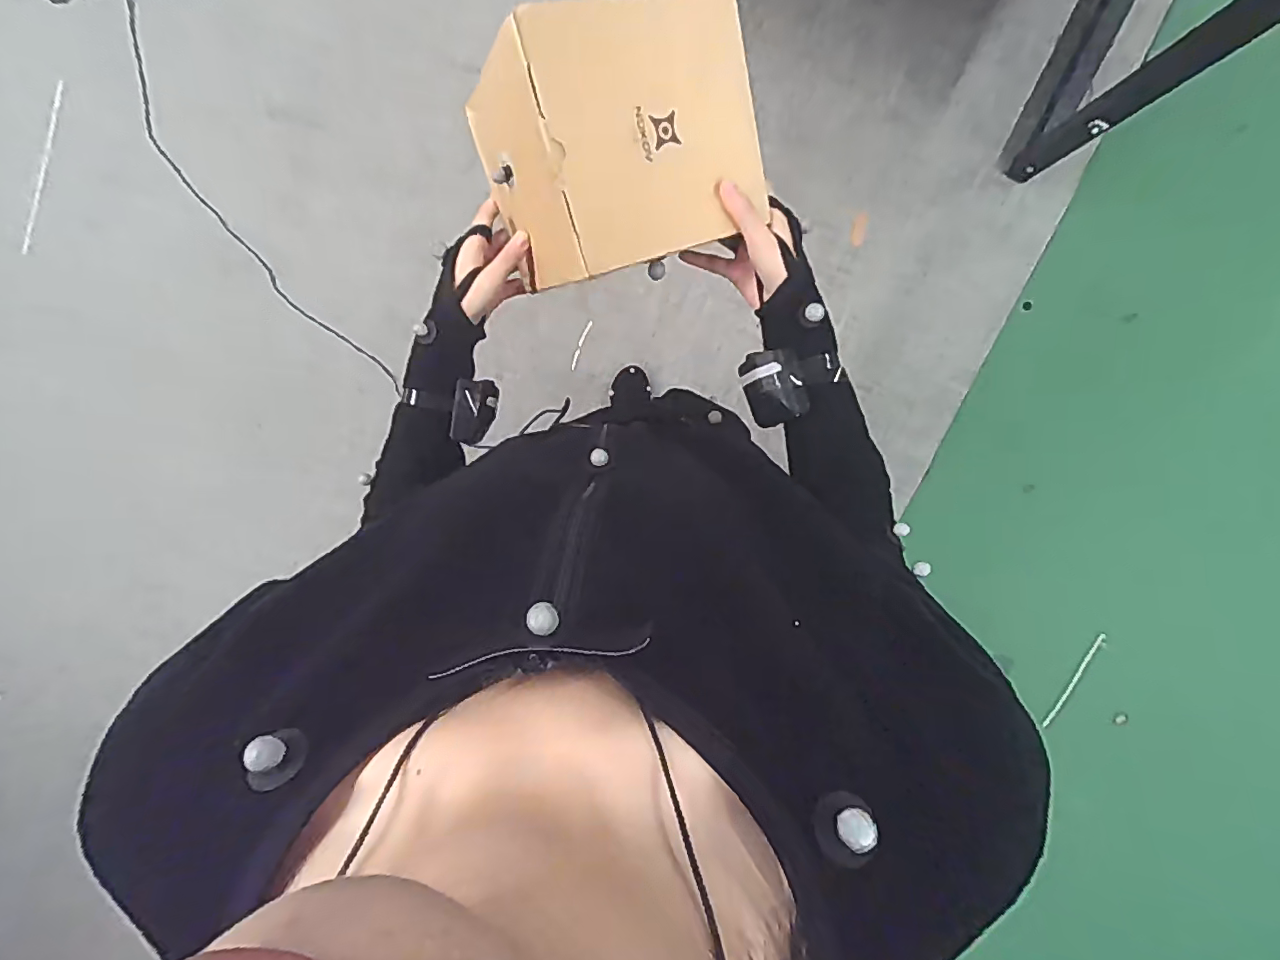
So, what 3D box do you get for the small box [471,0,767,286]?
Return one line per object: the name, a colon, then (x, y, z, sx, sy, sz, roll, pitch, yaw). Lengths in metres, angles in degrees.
small box: (-0.023, -0.274, 0.463, 0.179, 0.176, 0.168, -24, 113, -19)
